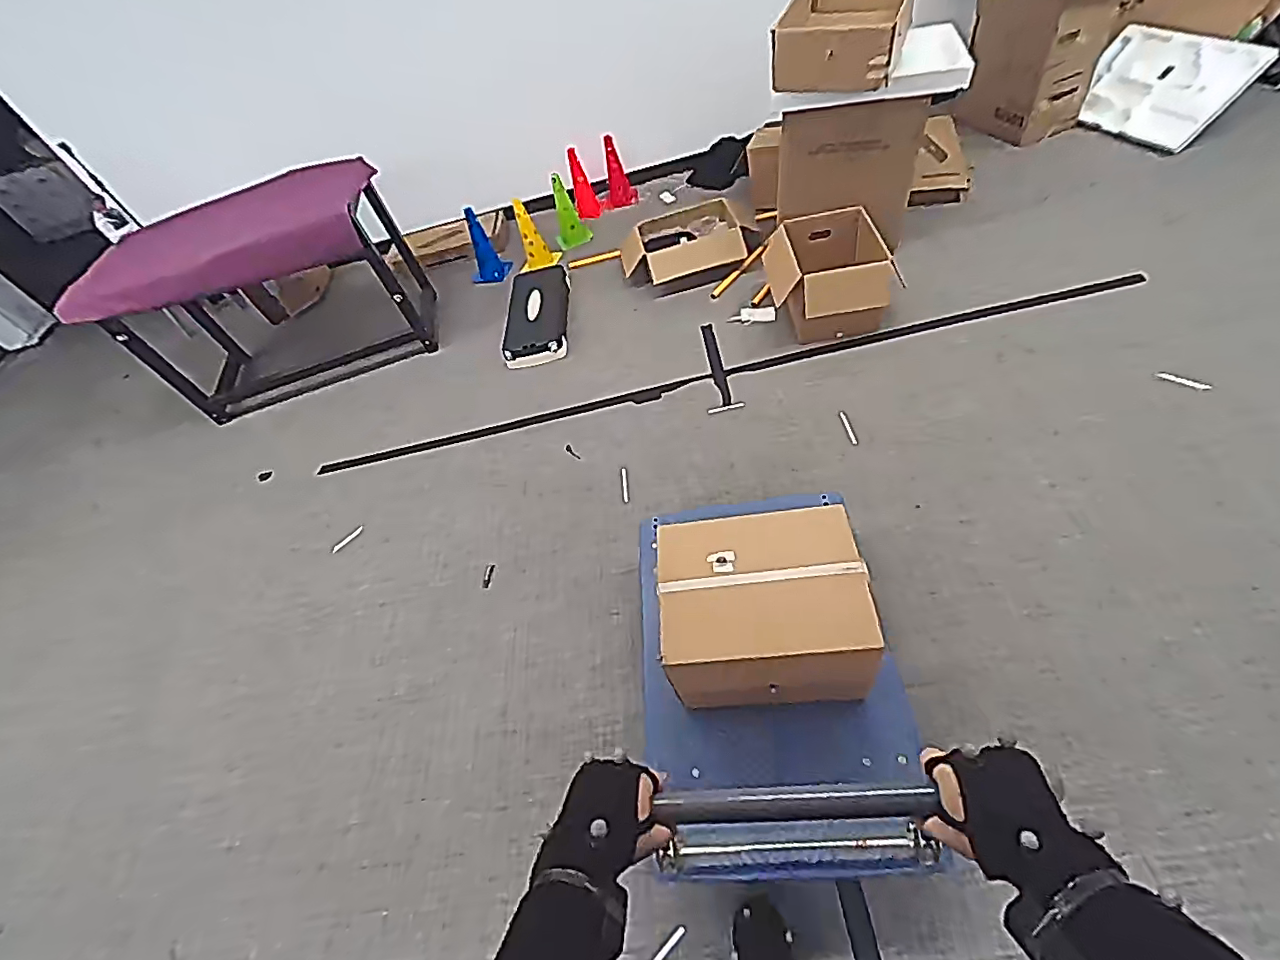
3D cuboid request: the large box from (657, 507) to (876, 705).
[{"bbox_3d":[0.268,0.296,1.217,0.408,0.320,0.320,-9,50,10],"label":"large box"}]
